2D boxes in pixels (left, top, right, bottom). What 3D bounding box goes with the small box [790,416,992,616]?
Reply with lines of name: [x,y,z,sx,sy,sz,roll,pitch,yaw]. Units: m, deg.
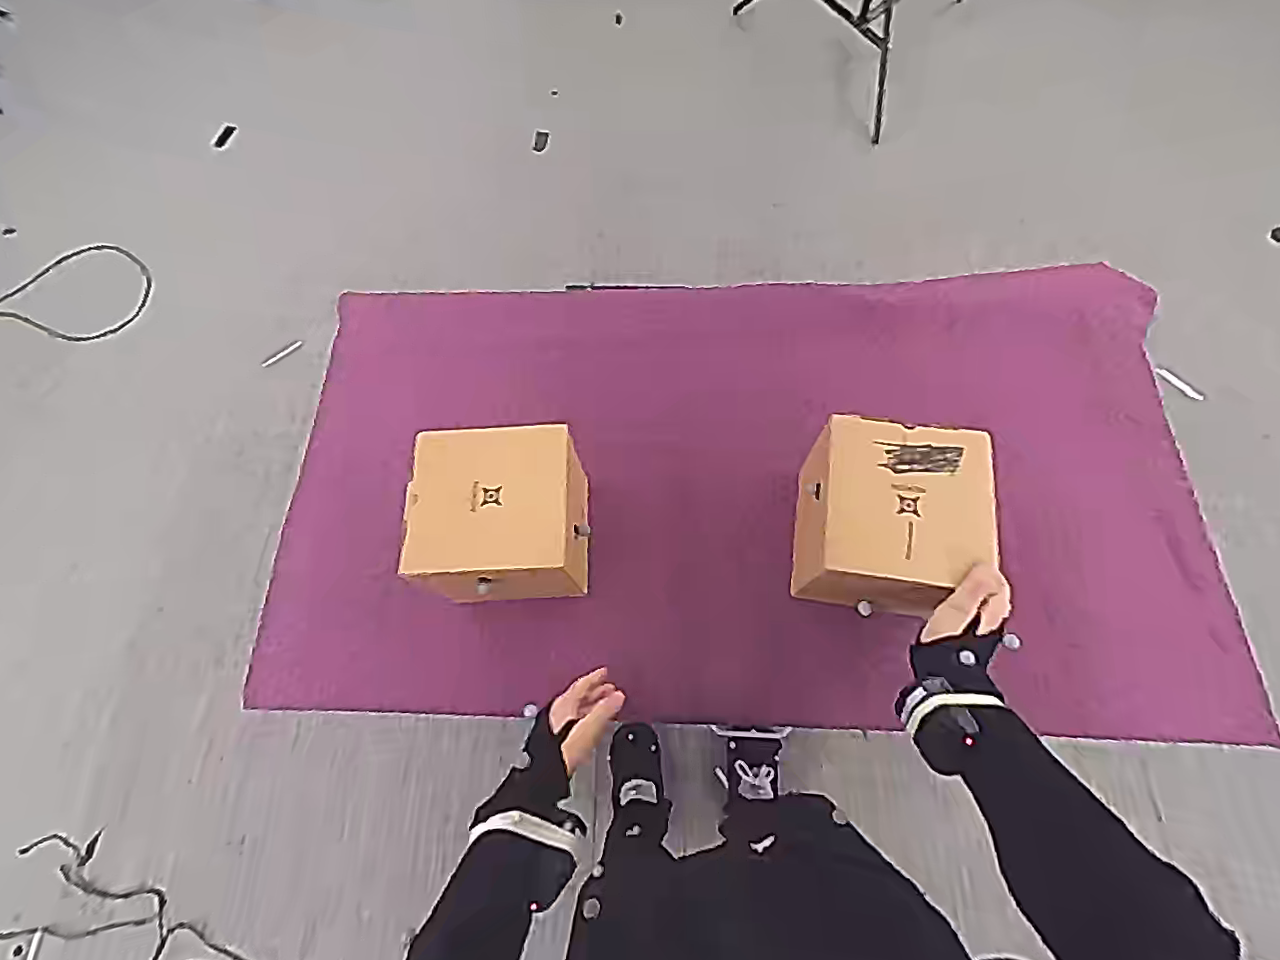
small box: [0.277,0.049,0.629,0.168,0.176,0.179,8,70,7]

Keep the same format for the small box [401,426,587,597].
small box: [-0.160,0.046,0.660,0.179,0.176,0.168,-3,69,3]
